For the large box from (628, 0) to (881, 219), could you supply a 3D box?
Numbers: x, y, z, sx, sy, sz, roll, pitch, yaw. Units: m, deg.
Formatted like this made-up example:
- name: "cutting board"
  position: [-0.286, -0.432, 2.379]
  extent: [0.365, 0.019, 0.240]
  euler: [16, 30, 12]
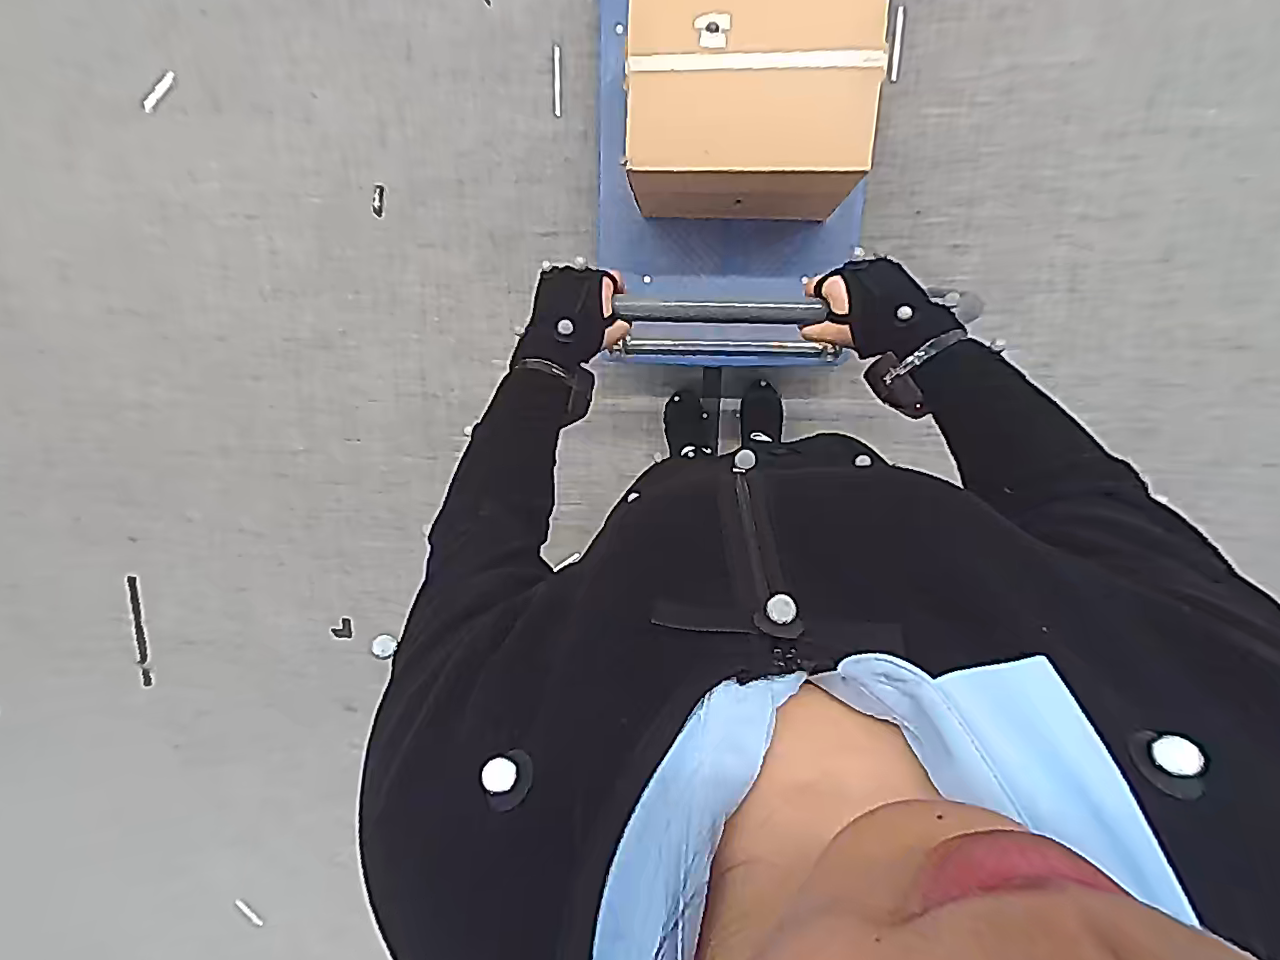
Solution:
- name: "large box"
  position: [0.199, -0.699, 1.026]
  extent: [0.408, 0.320, 0.320]
  euler: [3, 101, 6]
